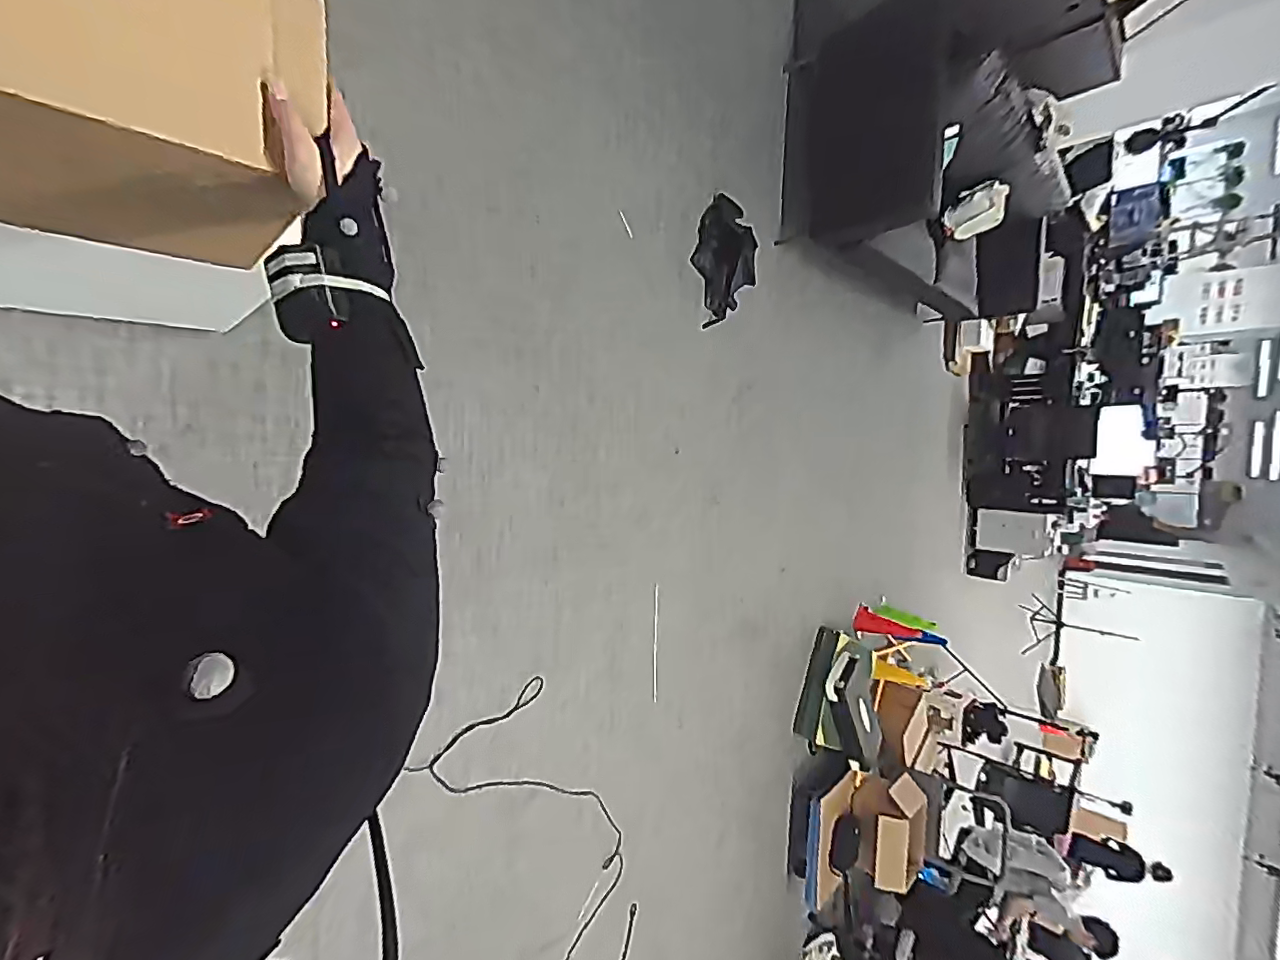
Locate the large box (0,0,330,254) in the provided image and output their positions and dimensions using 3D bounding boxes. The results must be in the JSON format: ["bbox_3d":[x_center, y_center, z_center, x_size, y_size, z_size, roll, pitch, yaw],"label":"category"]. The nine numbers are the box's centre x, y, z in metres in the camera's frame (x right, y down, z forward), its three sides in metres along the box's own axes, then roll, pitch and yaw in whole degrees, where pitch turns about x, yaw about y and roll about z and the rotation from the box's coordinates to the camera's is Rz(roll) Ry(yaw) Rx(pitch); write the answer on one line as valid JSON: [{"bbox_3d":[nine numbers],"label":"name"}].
[{"bbox_3d":[-0.512,-0.404,0.408,0.408,0.320,0.320,-5,97,-47],"label":"large box"}]
